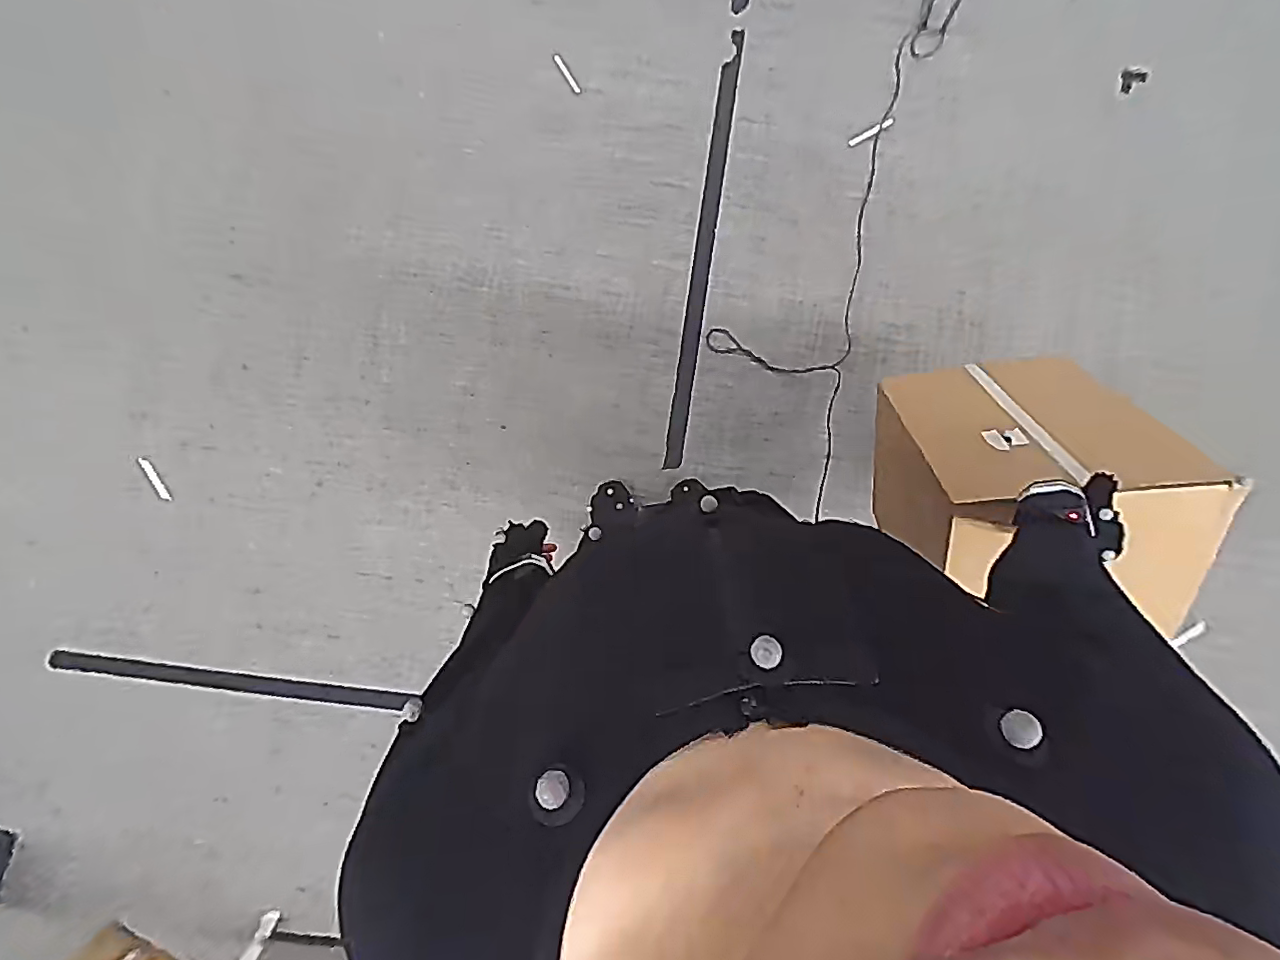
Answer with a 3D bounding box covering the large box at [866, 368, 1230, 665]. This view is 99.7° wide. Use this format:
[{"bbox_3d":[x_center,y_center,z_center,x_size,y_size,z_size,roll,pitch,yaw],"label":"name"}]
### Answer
[{"bbox_3d":[0.598,0.046,0.911,0.320,0.408,0.320,-7,123,11],"label":"large box"}]
